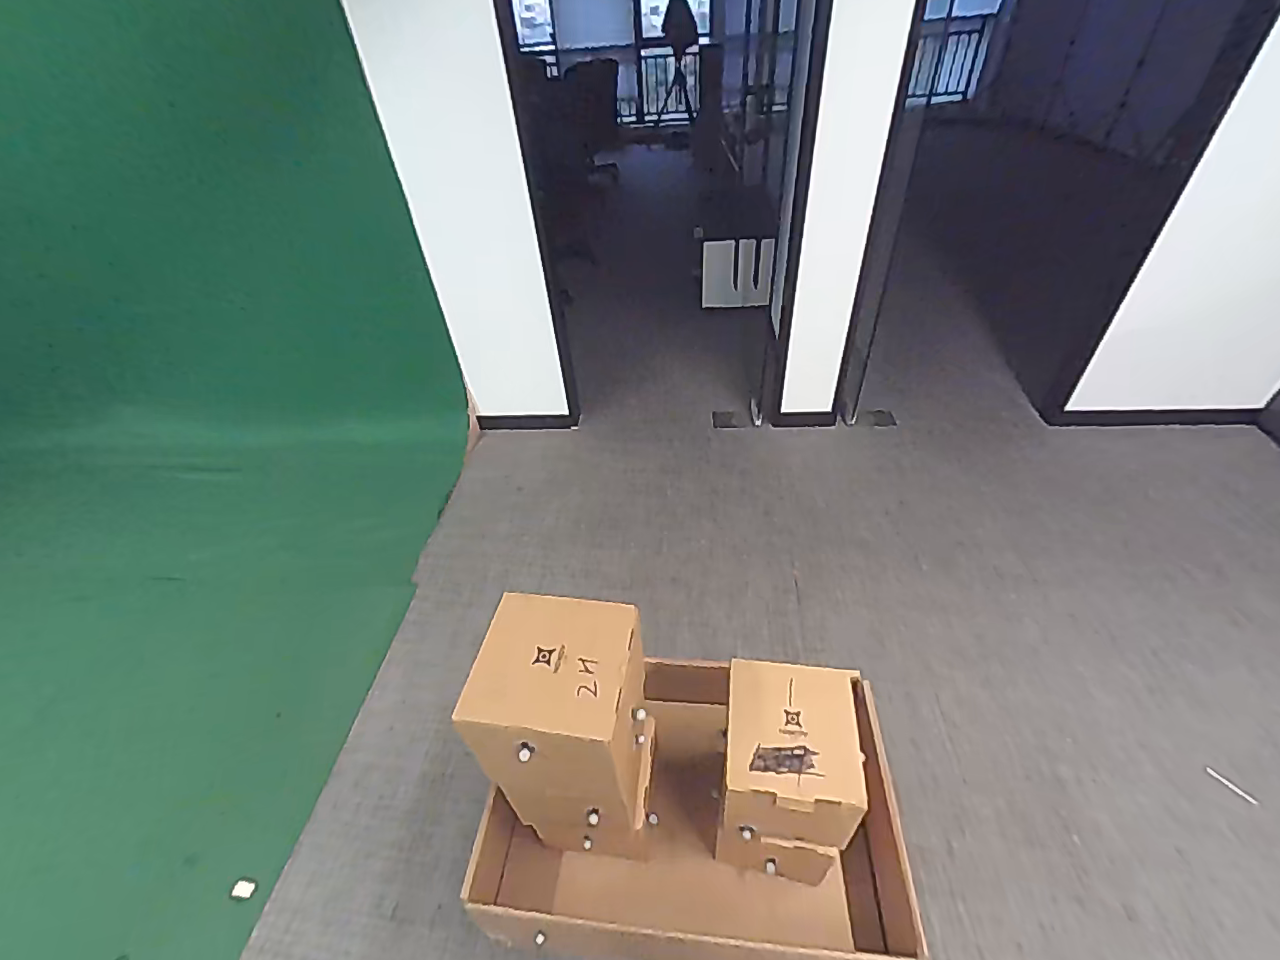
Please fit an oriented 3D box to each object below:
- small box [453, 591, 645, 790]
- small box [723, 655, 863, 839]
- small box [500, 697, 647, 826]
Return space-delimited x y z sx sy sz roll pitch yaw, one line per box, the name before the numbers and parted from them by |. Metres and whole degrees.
small box | -0.097 0.260 0.671 0.179 0.176 0.168 4 43 10
small box | 0.203 0.373 0.757 0.168 0.176 0.179 3 42 10
small box | -0.082 0.377 0.786 0.168 0.176 0.179 2 42 8
